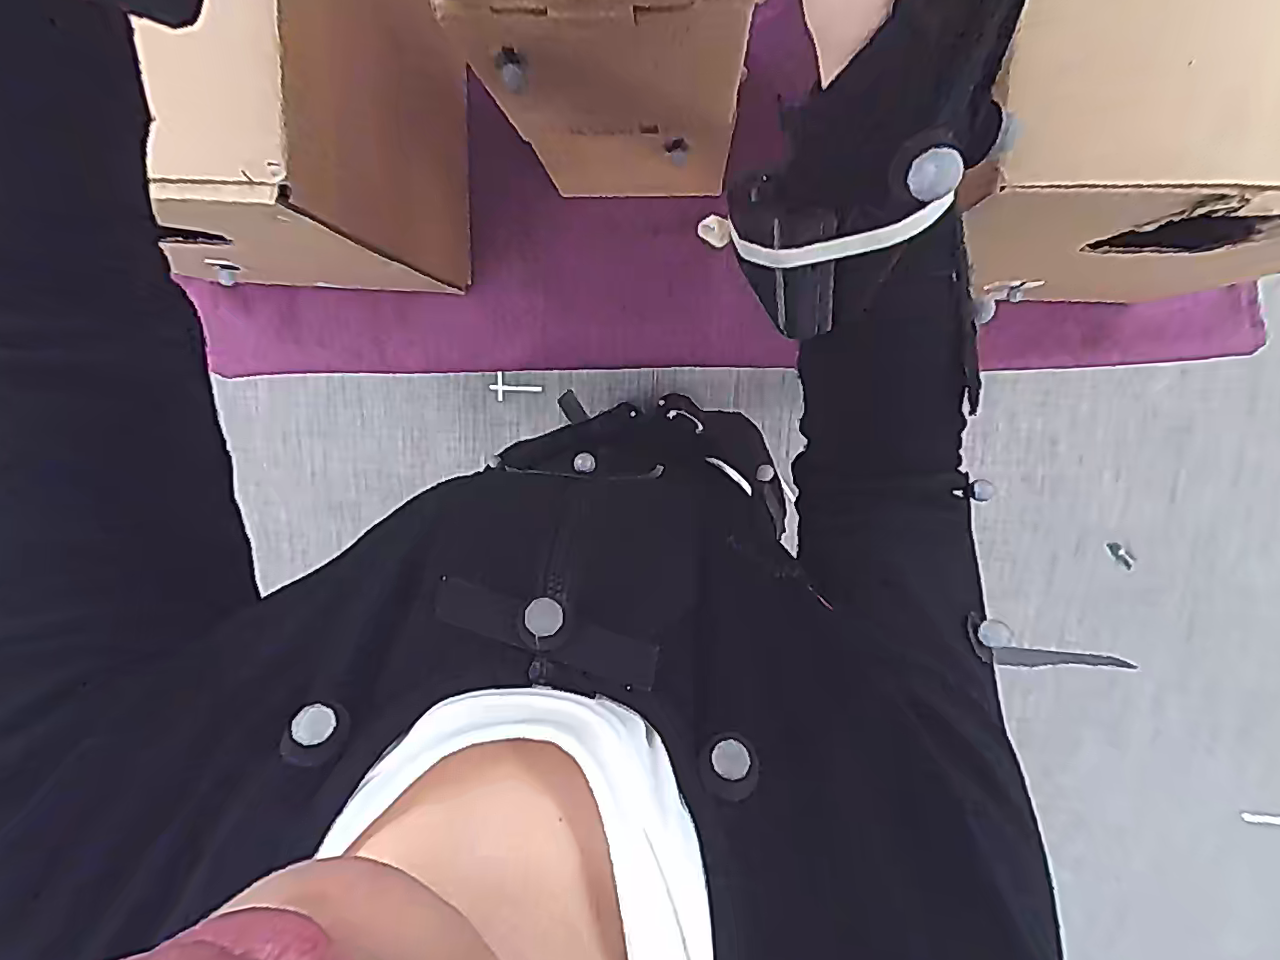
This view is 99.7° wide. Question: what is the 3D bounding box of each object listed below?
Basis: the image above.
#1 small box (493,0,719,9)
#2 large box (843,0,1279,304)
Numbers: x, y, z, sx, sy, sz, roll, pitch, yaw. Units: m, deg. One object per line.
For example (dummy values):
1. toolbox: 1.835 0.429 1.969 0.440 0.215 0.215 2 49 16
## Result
1. small box: -0.023 -0.294 0.173 0.179 0.176 0.168 4 106 3
2. large box: 0.356 -0.362 0.399 0.320 0.320 0.408 2 98 4
